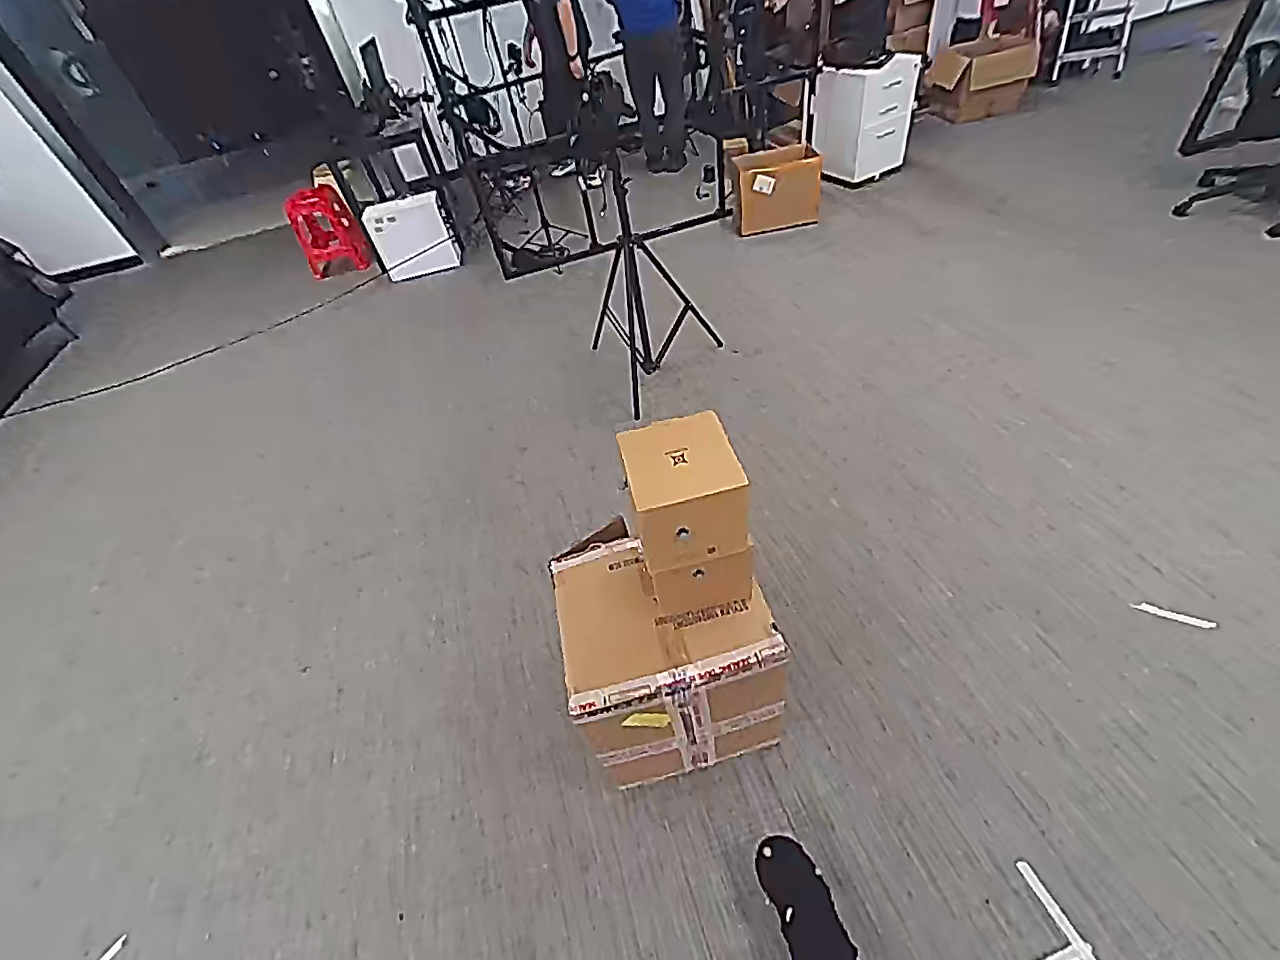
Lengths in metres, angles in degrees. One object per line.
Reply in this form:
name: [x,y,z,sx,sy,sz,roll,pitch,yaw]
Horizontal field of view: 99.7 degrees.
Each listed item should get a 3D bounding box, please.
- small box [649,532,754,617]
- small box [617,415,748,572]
small box: [0.102,0.130,0.994,0.179,0.176,0.168,-12,47,-2]
small box: [0.071,0.028,0.871,0.168,0.176,0.179,-15,46,-3]
